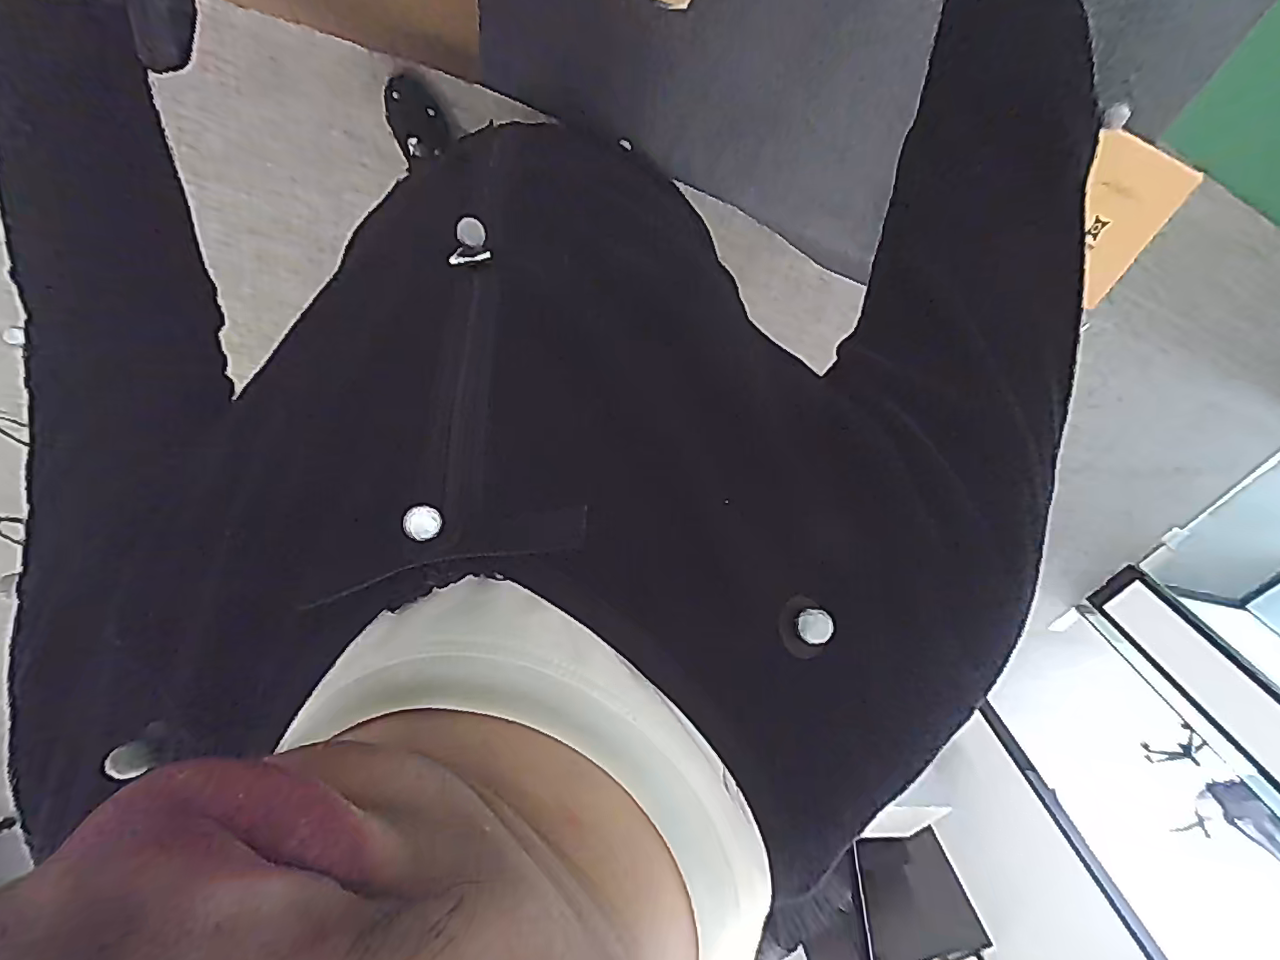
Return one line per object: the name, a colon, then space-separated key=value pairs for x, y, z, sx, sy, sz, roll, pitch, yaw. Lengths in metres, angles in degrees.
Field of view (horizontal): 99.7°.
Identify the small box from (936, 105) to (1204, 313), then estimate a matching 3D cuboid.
small box: x=0.518 y=-0.344 z=0.687 sx=0.168 sy=0.176 sz=0.179 roll=10 pitch=125 yaw=-18
